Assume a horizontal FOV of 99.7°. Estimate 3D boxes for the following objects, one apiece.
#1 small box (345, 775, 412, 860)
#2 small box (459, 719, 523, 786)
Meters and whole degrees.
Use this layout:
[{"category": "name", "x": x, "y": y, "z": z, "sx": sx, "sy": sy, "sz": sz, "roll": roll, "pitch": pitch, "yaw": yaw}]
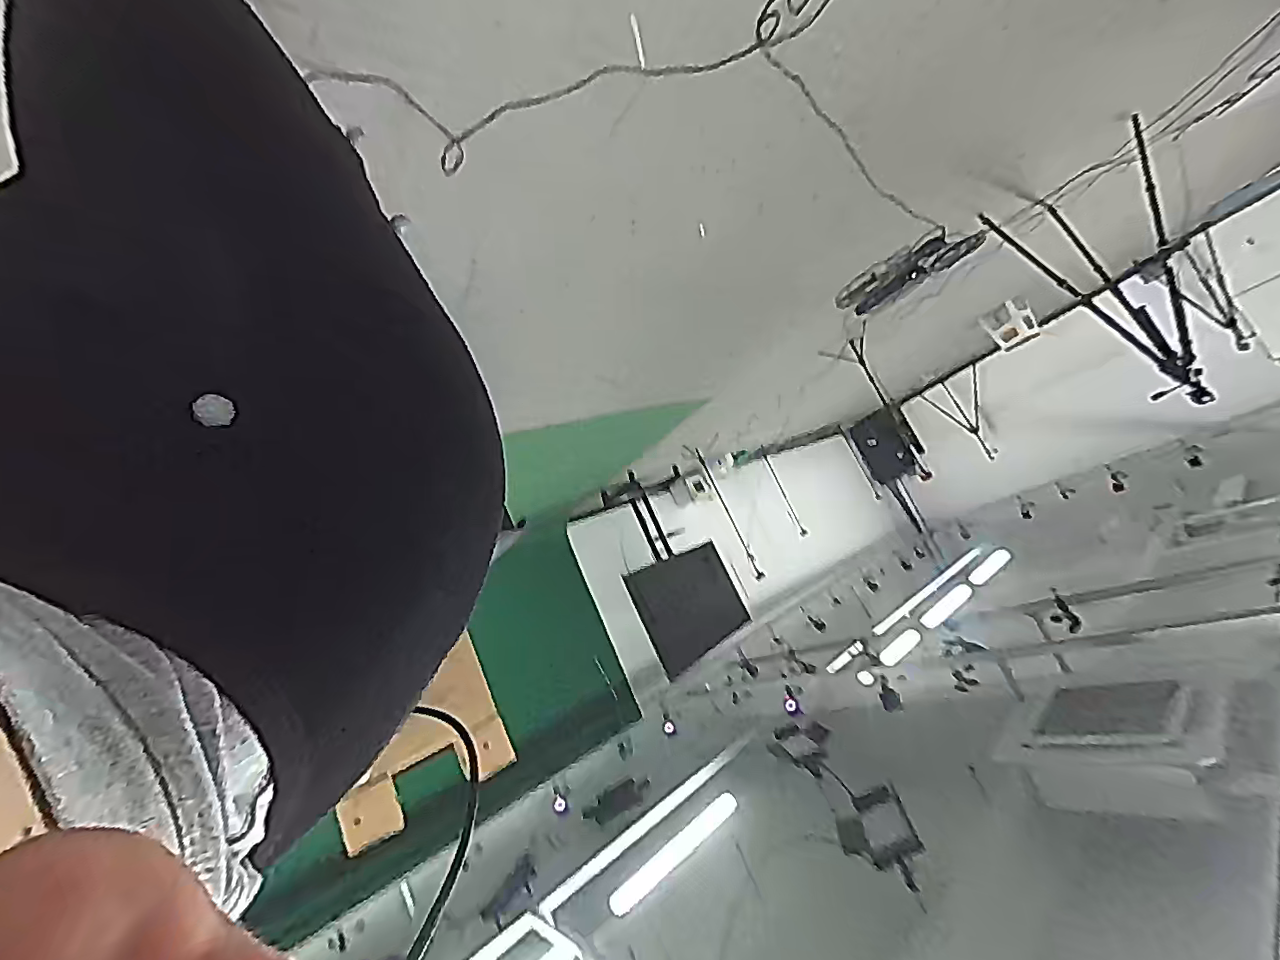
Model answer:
[{"category": "small box", "x": -0.875, "y": 1.120, "z": 1.812, "sx": 0.168, "sy": 0.176, "sz": 0.179, "roll": -17, "pitch": 168, "yaw": -28}, {"category": "small box", "x": -0.570, "y": 1.024, "z": 2.047, "sx": 0.168, "sy": 0.176, "sz": 0.179, "roll": -20, "pitch": 168, "yaw": -32}]
